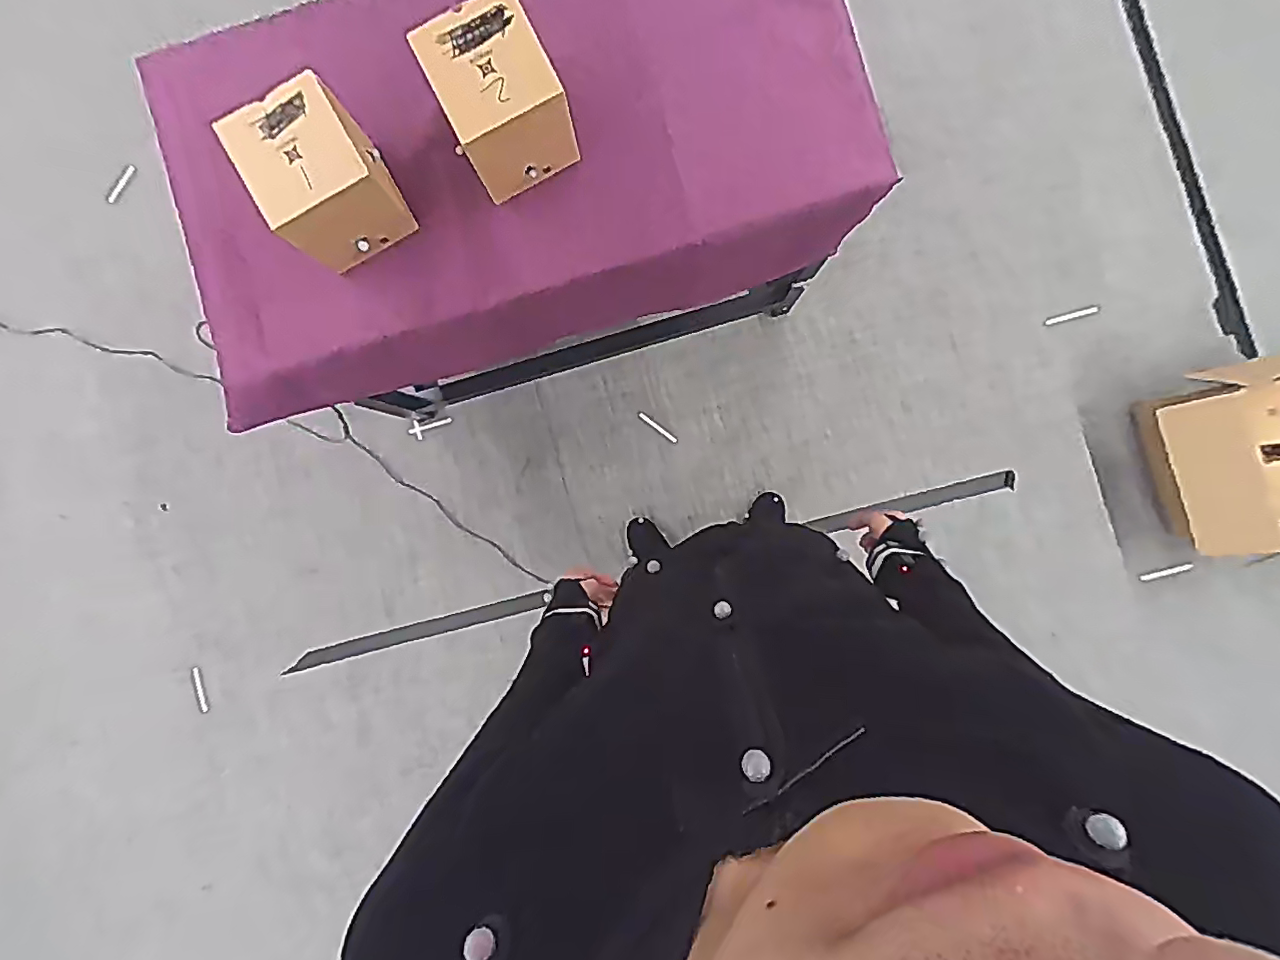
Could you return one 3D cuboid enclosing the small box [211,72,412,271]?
[{"bbox_3d":[-0.495,-0.463,0.842,0.168,0.176,0.179,-30,89,2],"label":"small box"}]
